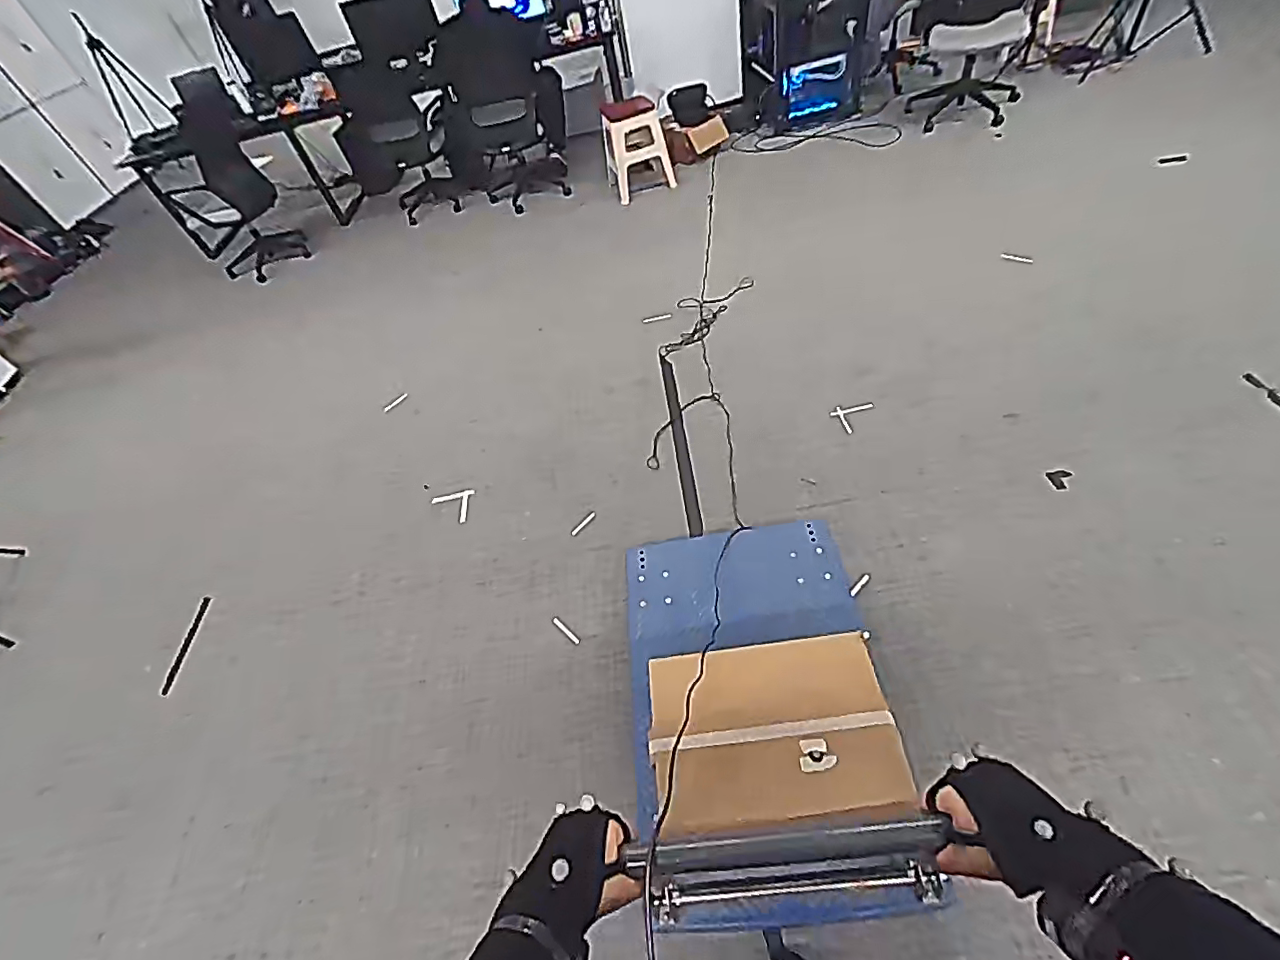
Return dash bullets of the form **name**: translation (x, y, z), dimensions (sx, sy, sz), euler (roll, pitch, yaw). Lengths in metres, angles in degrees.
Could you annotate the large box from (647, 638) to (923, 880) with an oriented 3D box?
- **large box**: translation (0.244, 0.535, 1.024), dimensions (0.408, 0.320, 0.320), euler (-10, 49, 6)
